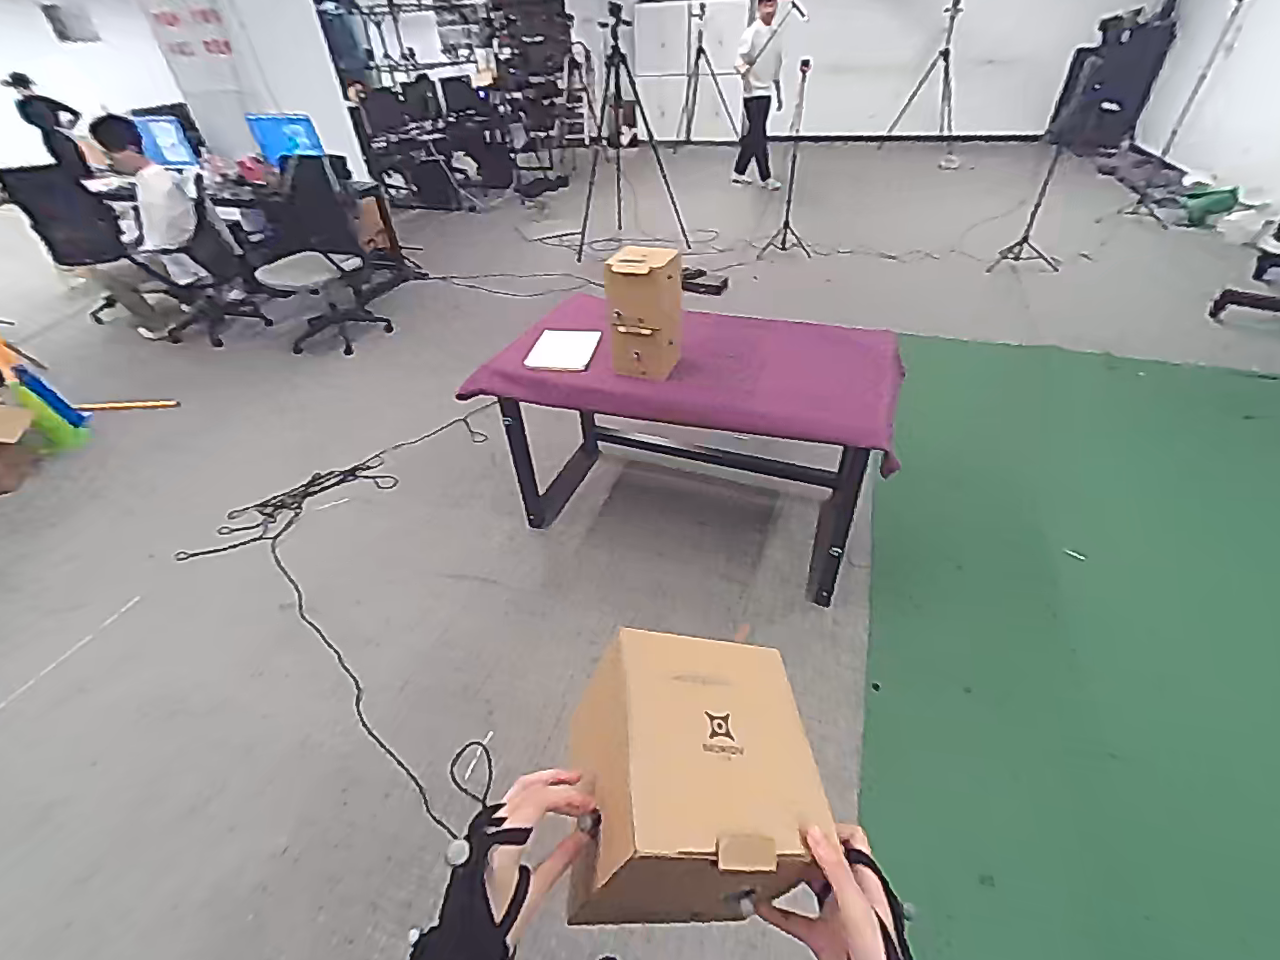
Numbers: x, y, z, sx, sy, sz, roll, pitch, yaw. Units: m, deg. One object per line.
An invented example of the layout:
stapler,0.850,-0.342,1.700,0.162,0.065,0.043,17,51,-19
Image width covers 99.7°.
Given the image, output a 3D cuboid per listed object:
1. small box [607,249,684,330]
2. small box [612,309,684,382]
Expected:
small box,0.022,-0.539,1.532,0.168,0.176,0.179,13,41,19
small box,0.031,-0.415,1.641,0.168,0.176,0.179,13,43,18
